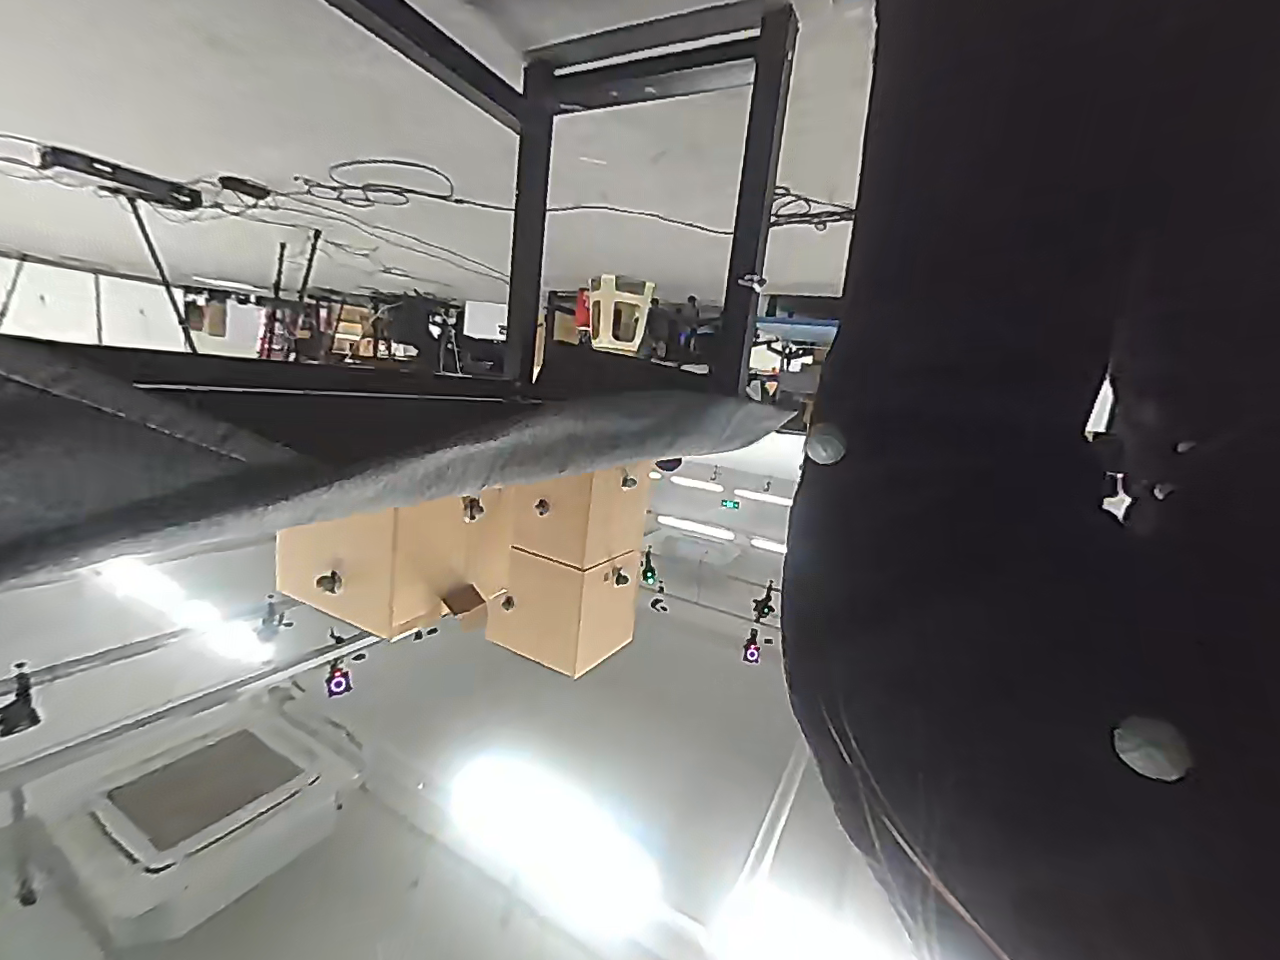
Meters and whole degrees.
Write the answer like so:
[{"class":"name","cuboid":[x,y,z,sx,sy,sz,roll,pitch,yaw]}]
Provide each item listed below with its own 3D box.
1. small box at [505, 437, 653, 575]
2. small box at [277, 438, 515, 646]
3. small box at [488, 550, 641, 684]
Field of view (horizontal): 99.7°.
[{"class":"small box","cuboid":[-0.096,0.027,0.829,0.179,0.176,0.168,12,-169,29]},{"class":"small box","cuboid":[-0.253,0.048,0.582,0.179,0.176,0.168,11,-170,26]},{"class":"small box","cuboid":[-0.115,0.186,0.856,0.179,0.176,0.168,11,-168,29]}]
